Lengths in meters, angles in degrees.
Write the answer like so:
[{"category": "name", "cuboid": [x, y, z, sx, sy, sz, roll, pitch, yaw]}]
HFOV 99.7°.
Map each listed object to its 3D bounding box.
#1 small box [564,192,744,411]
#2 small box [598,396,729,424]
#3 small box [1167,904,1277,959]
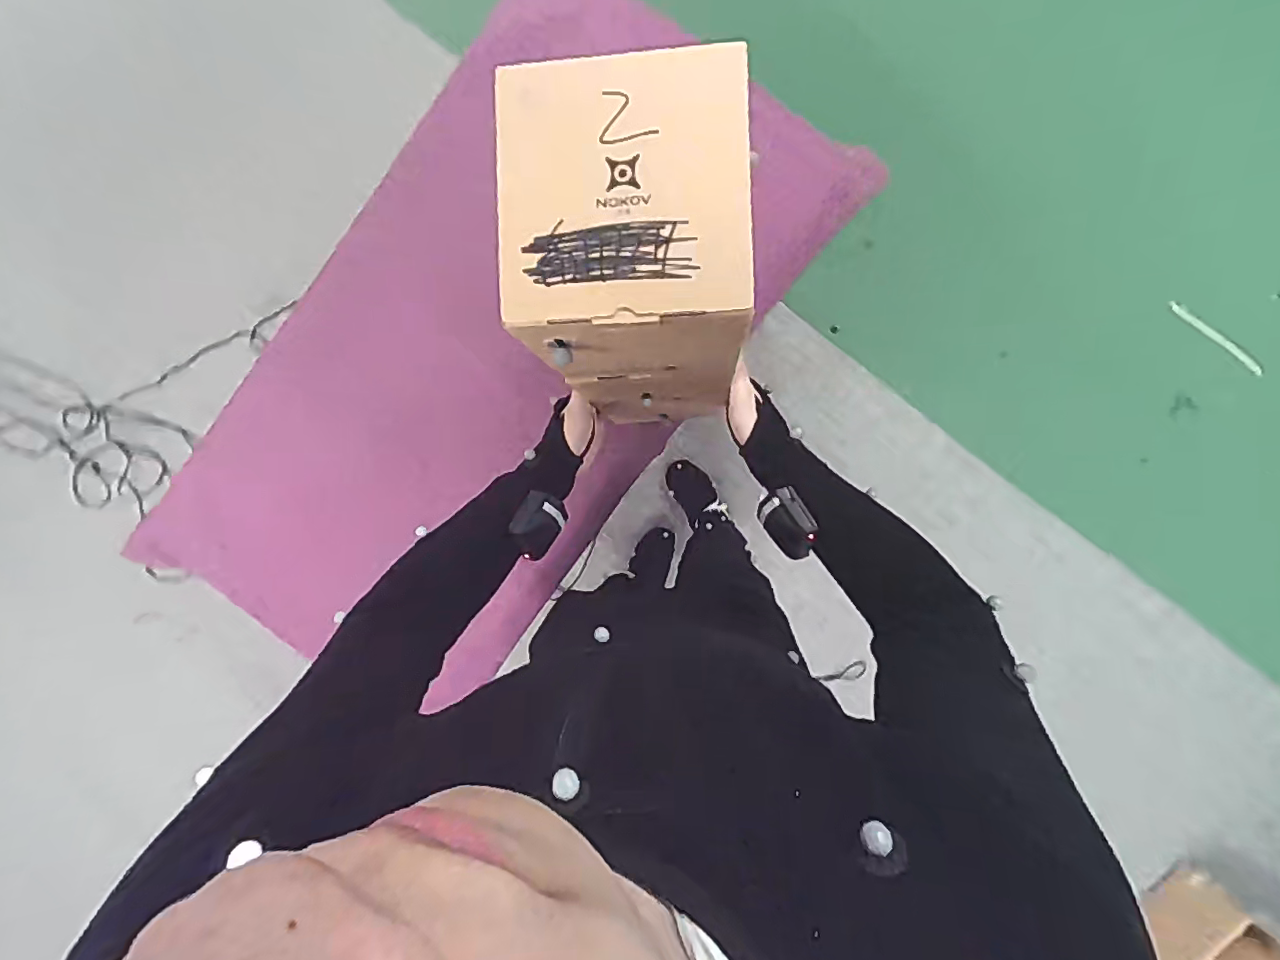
[{"category": "small box", "cuboid": [0.018, -0.178, 0.589, 0.168, 0.176, 0.179, -4, 90, 5]}, {"category": "small box", "cuboid": [0.033, -0.177, 0.750, 0.168, 0.176, 0.179, -3, 90, 6]}, {"category": "small box", "cuboid": [1.605, 1.305, 1.450, 0.179, 0.176, 0.168, 41, 94, 0]}]
